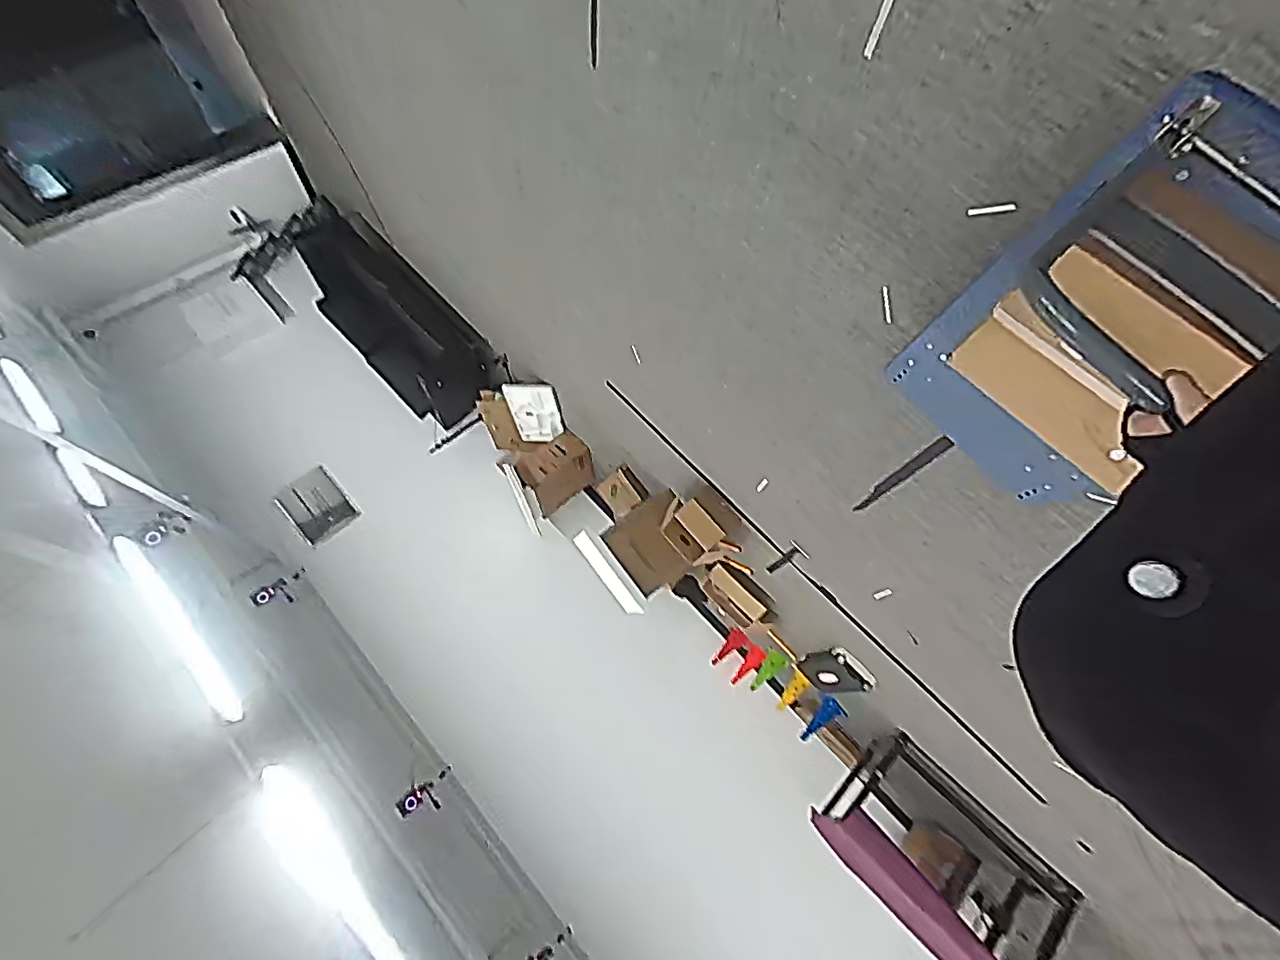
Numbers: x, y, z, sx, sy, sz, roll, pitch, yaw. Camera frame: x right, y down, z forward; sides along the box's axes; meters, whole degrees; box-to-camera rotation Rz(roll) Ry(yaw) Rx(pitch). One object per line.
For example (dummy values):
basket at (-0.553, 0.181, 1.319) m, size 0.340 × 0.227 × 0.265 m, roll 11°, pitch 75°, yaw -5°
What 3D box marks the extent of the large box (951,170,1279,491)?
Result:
large box at (0.897, -0.262, 0.978) m, size 0.408 × 0.320 × 0.320 m, roll 47°, pitch 158°, yaw 14°
